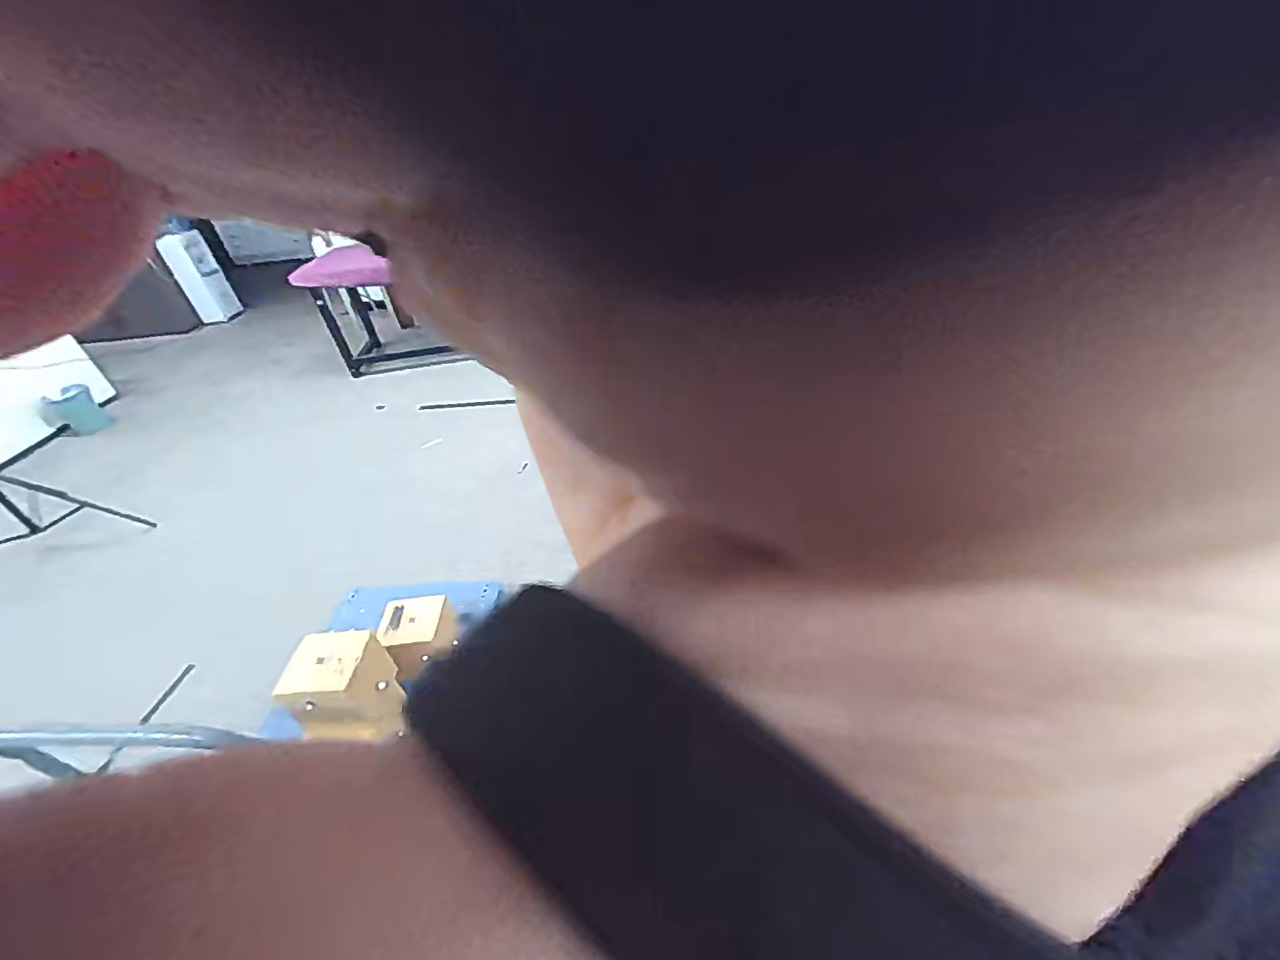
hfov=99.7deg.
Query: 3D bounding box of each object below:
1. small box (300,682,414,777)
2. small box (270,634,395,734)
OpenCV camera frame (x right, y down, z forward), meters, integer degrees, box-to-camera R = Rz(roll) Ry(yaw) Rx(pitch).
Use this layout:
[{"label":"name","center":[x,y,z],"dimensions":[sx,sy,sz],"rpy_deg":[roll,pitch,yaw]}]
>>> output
[{"label":"small box","center":[-0.715,0.643,1.389],"dimensions":[0.179,0.176,0.168],"rpy_deg":[-5,37,3]},{"label":"small box","center":[-0.734,0.497,1.311],"dimensions":[0.179,0.176,0.168],"rpy_deg":[-5,37,3]}]
